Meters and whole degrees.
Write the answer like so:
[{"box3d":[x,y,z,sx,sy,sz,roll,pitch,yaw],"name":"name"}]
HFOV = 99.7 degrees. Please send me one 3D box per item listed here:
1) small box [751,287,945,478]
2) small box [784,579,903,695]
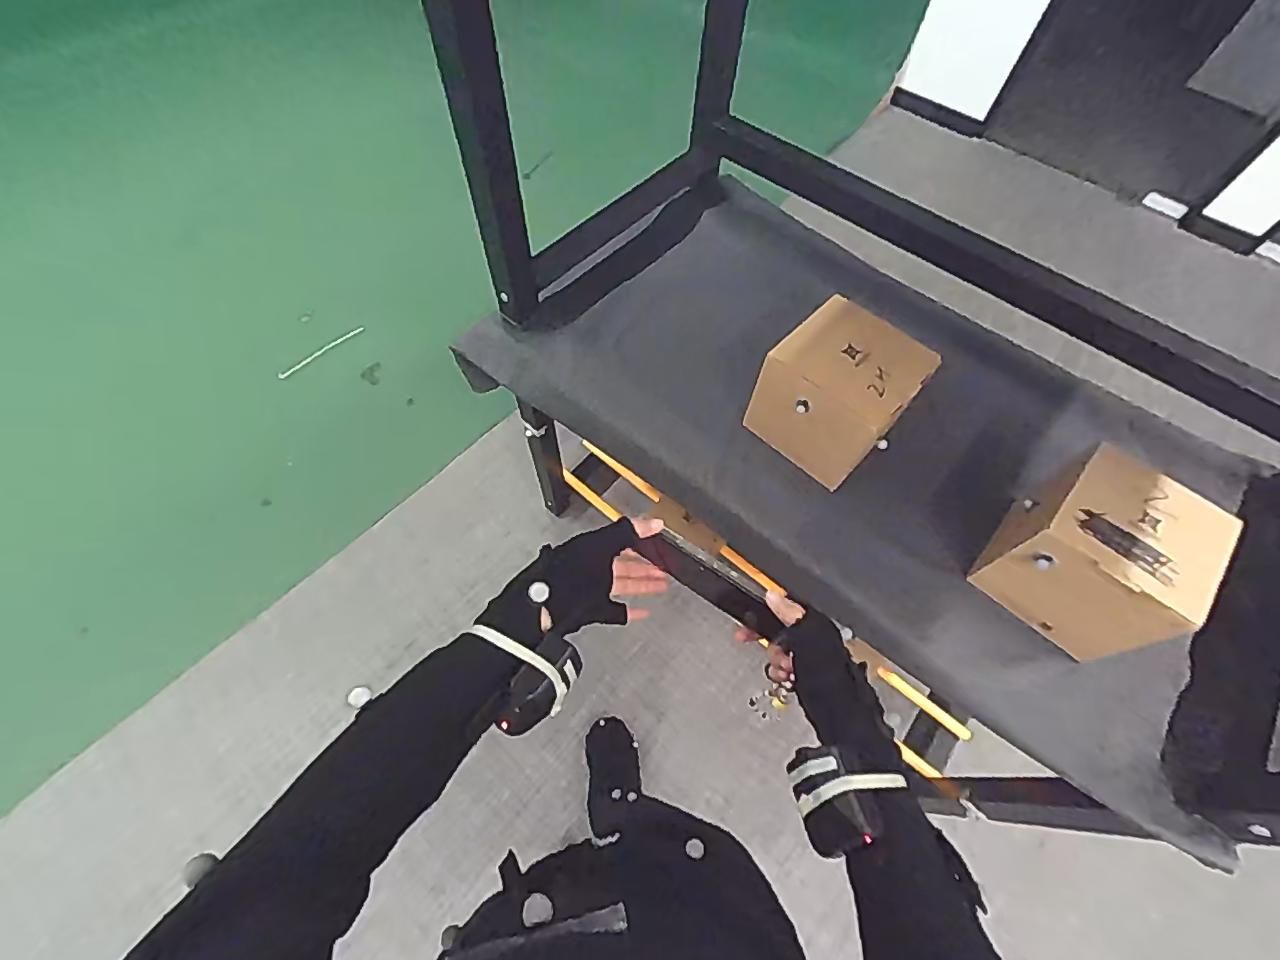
[{"box3d":[0.284,-0.134,0.781,0.179,0.176,0.168,41,68,18],"name":"small box"},{"box3d":[0.448,0.362,1.227,0.168,0.176,0.179,41,68,18],"name":"small box"}]
